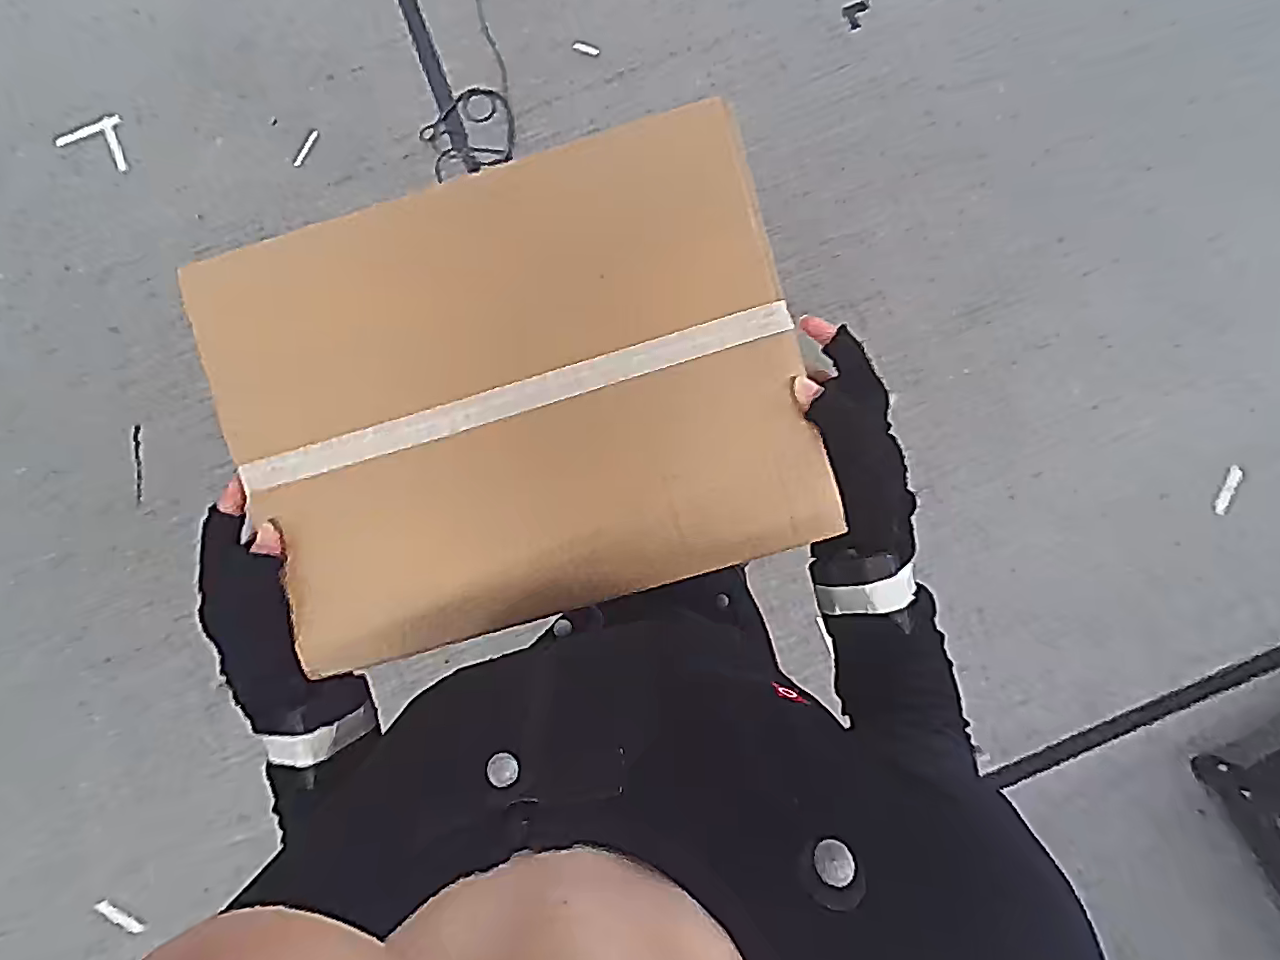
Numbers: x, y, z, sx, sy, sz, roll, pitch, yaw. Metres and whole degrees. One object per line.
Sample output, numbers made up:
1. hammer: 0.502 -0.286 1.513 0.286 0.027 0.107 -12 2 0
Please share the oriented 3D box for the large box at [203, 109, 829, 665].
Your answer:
1. large box: -0.086 -0.070 0.543 0.408 0.320 0.320 -16 92 3
